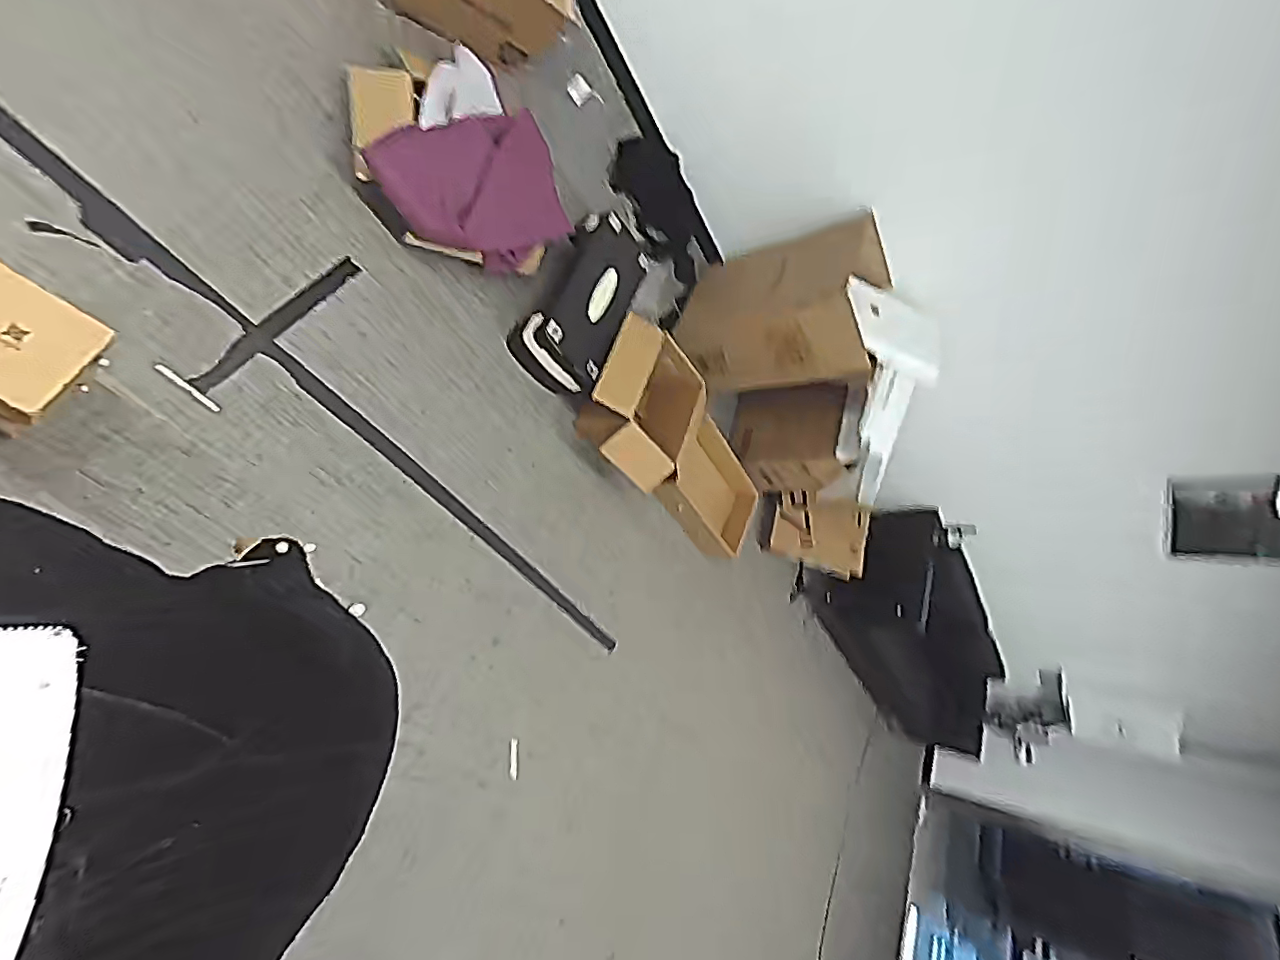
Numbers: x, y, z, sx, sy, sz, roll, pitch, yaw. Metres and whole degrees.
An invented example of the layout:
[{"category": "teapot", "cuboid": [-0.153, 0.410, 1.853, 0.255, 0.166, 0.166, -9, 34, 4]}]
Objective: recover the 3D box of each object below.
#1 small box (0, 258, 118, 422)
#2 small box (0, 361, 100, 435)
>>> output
[{"category": "small box", "cuboid": [-0.990, -0.212, 0.851, 0.168, 0.176, 0.179, 43, 57, -37]}, {"category": "small box", "cuboid": [-1.121, -0.198, 0.951, 0.168, 0.176, 0.179, 48, 55, -35]}]
